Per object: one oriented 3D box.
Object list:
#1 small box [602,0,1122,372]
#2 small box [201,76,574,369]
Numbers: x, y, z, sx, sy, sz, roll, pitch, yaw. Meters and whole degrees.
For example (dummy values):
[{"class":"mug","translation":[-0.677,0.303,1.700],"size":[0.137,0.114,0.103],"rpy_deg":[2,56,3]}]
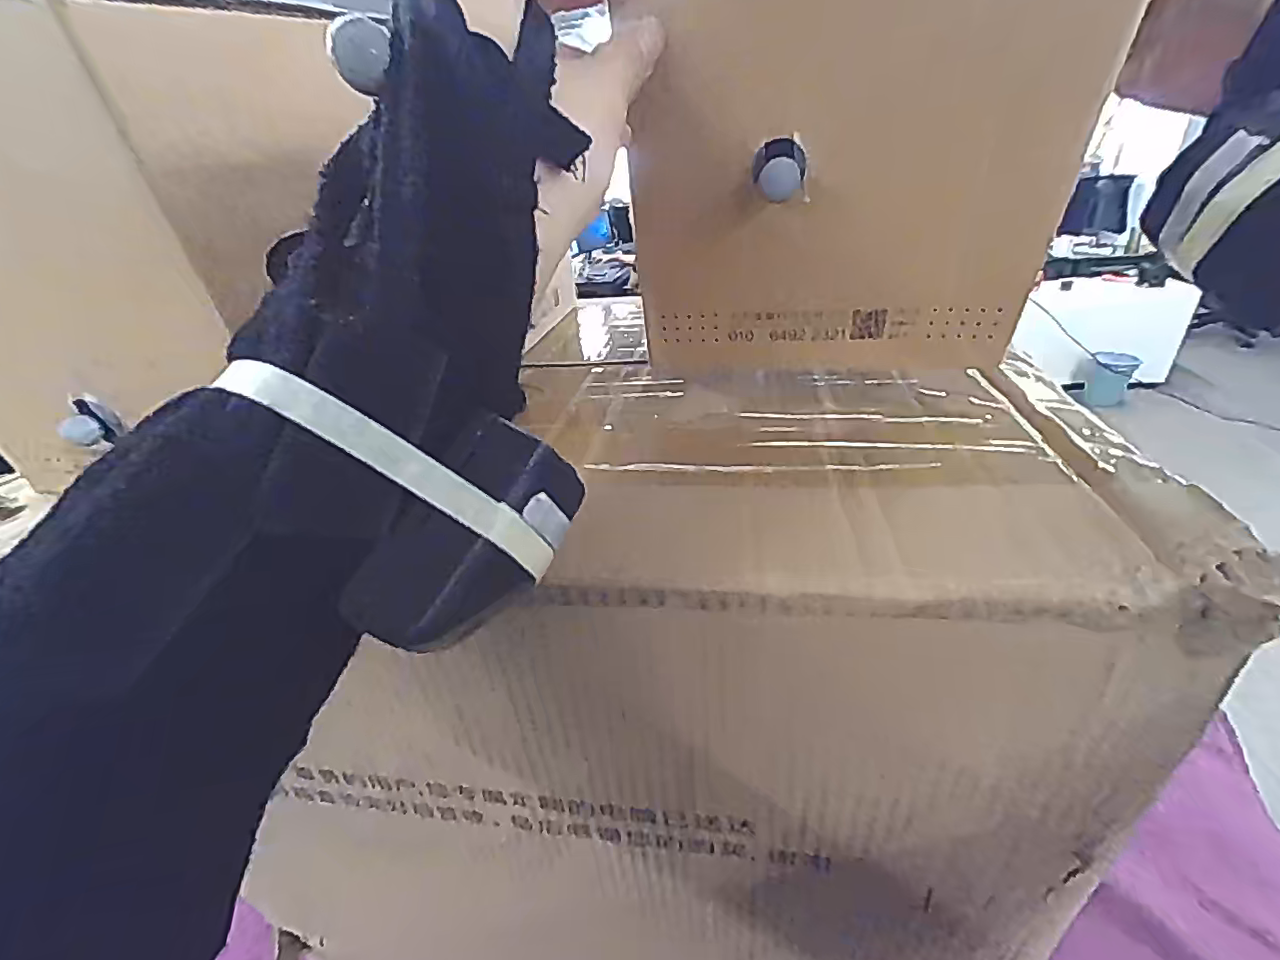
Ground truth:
[{"class":"small box","translation":[0.092,-0.166,0.268],"size":[0.168,0.176,0.179],"rpy_deg":[2,44,13]},{"class":"small box","translation":[-0.159,-0.189,0.413],"size":[0.179,0.176,0.168],"rpy_deg":[1,30,10]}]
